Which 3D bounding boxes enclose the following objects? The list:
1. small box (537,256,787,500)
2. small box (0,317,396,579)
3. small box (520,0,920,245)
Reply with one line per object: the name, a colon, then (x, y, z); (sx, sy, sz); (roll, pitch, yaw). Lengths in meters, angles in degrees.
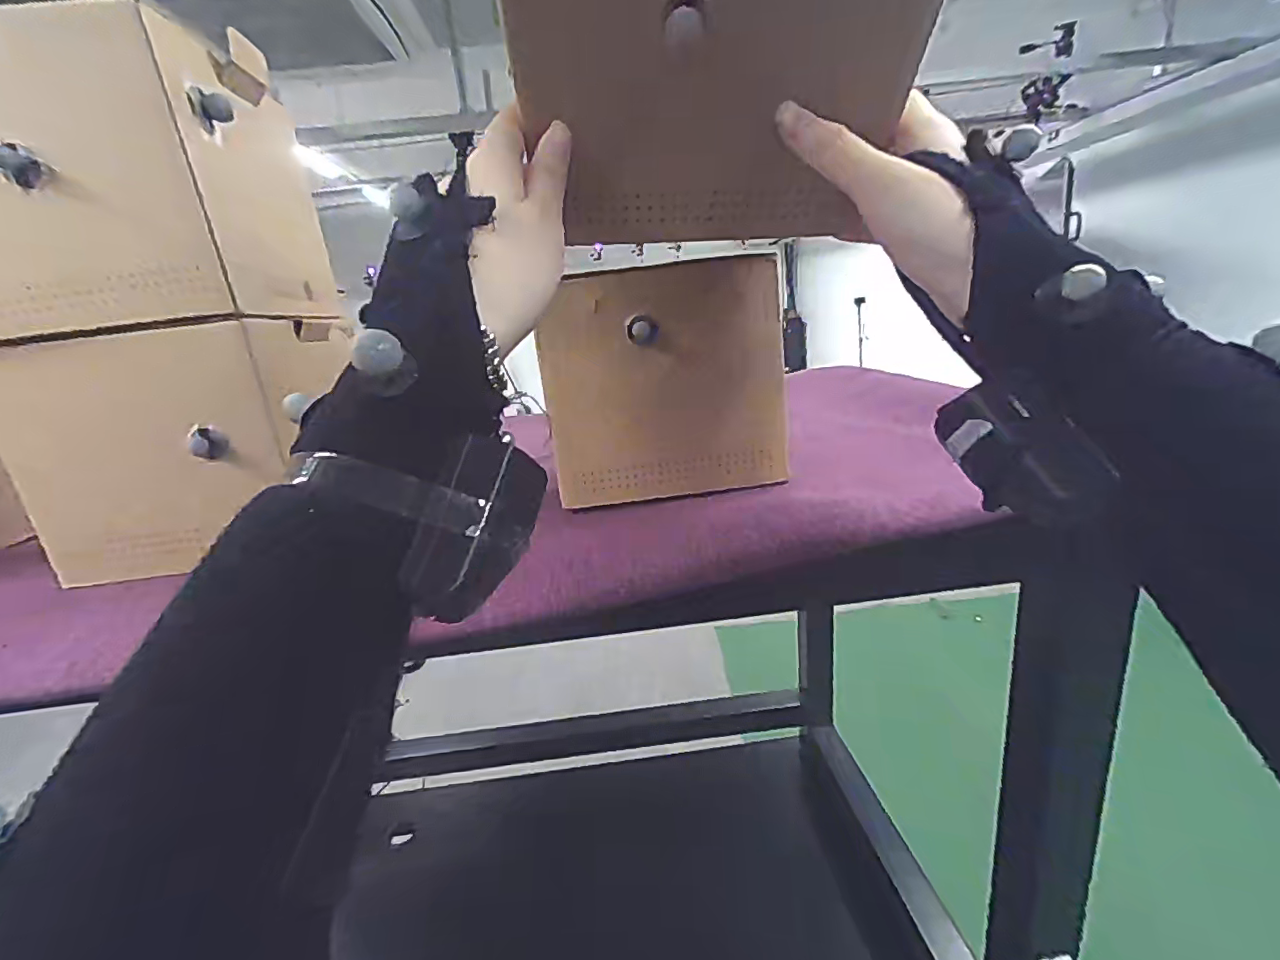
small box: (0.019, -0.085, 0.475); (0.179, 0.176, 0.168); (-6, 14, -1)
small box: (-0.325, -0.036, 0.441); (0.179, 0.176, 0.168); (-8, 15, -3)
small box: (0.033, -0.244, 0.283); (0.179, 0.176, 0.168); (-3, 59, 0)
